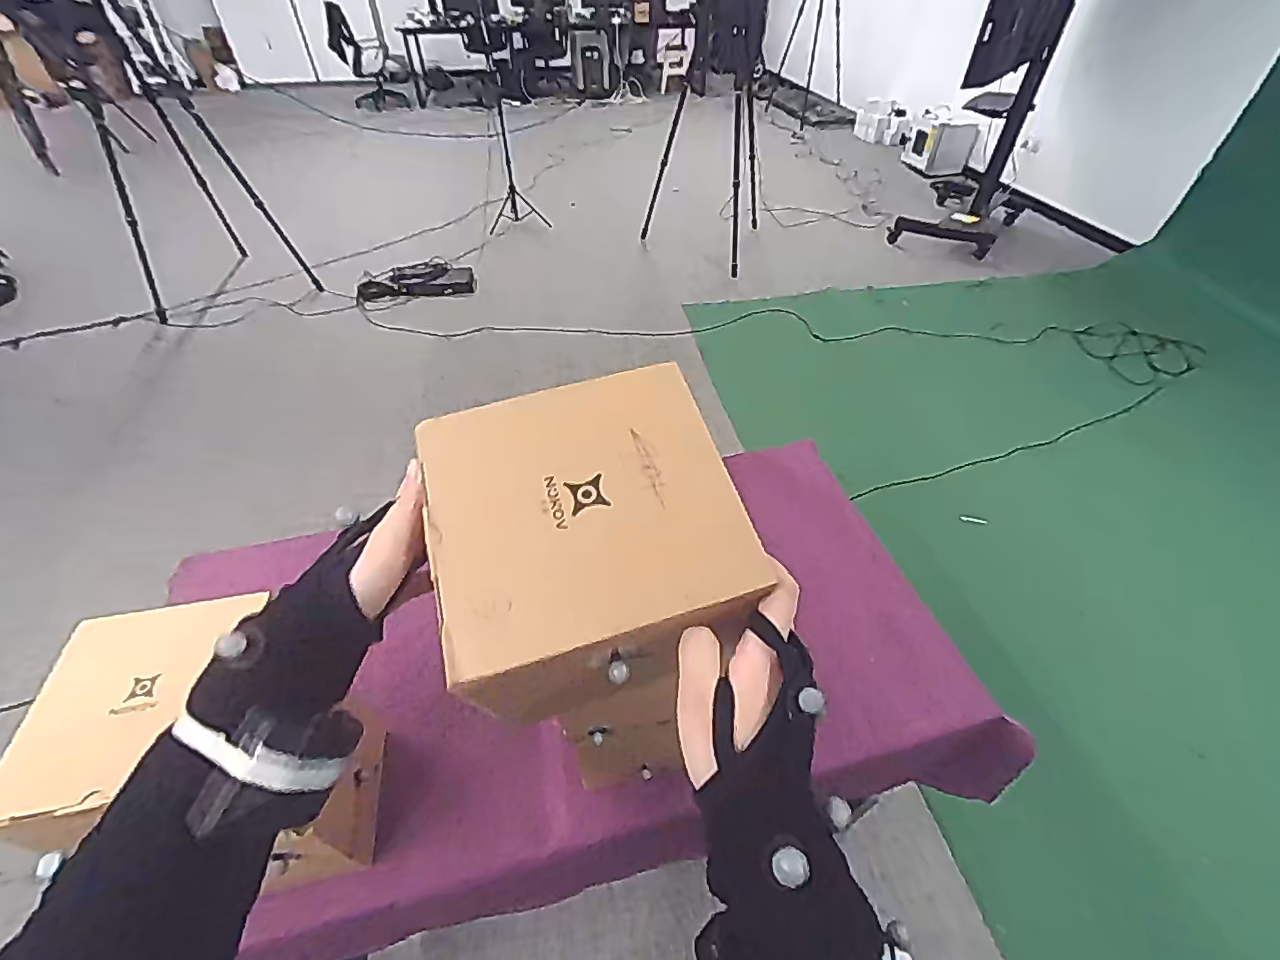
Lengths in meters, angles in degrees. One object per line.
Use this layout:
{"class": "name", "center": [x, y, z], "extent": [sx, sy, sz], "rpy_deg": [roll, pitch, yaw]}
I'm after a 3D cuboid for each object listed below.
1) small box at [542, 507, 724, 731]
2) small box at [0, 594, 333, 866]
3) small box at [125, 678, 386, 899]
{"class": "small box", "center": [-0.012, 0.157, 0.594], "extent": [0.168, 0.176, 0.179], "rpy_deg": [-7, 45, -6]}
{"class": "small box", "center": [-0.424, 0.239, 0.522], "extent": [0.168, 0.176, 0.179], "rpy_deg": [-9, 47, -8]}
{"class": "small box", "center": [-0.417, 0.360, 0.632], "extent": [0.179, 0.176, 0.168], "rpy_deg": [-9, 45, -8]}
